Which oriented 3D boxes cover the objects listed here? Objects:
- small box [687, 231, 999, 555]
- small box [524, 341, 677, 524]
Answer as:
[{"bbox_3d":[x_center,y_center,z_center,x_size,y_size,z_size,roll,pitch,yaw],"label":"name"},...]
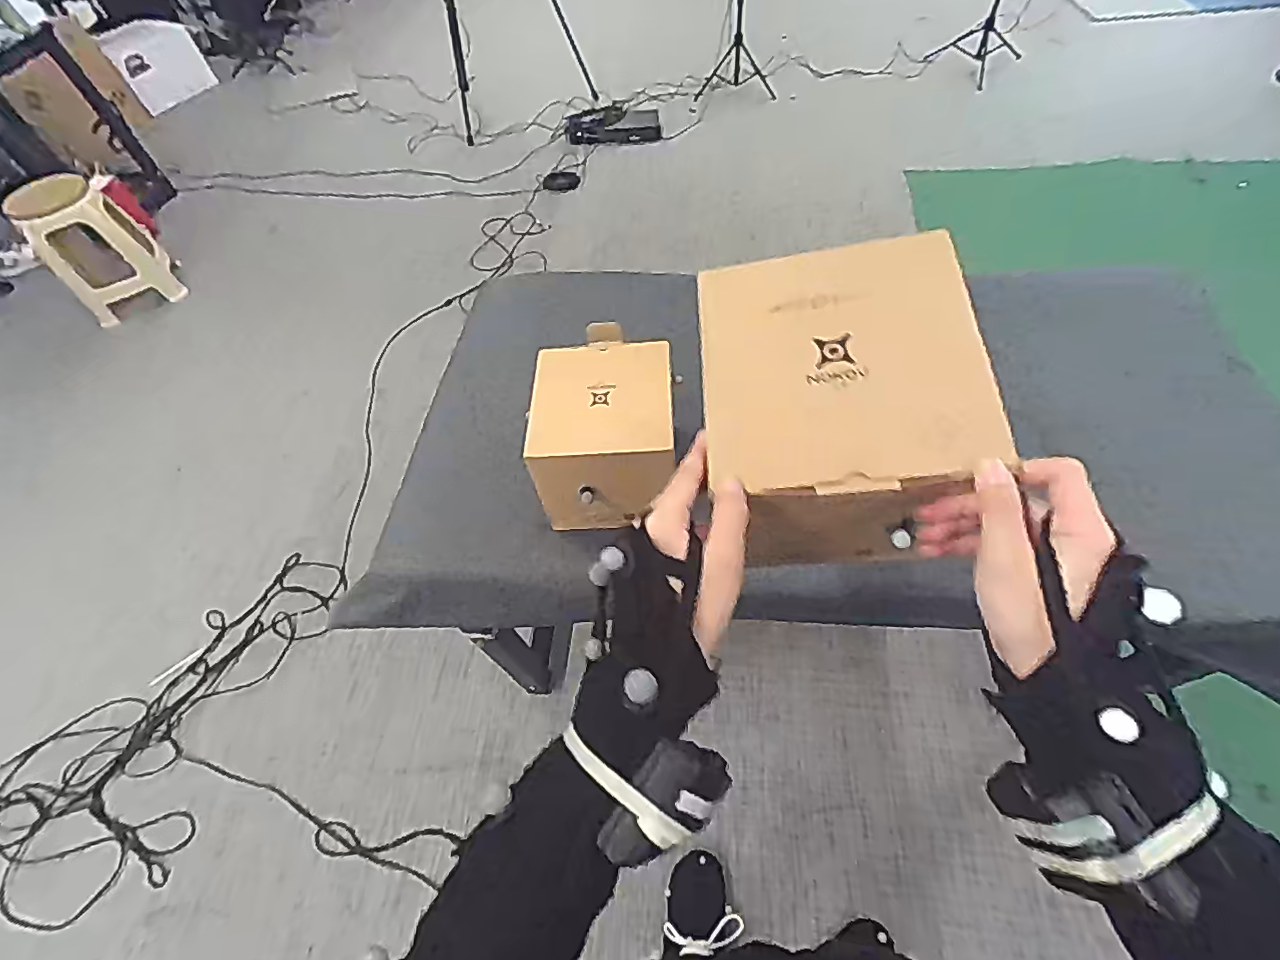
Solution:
[{"bbox_3d":[0.130,-0.046,0.408,0.168,0.176,0.179,-5,65,11],"label":"small box"},{"bbox_3d":[-0.039,-0.052,0.693,0.168,0.176,0.179,-2,54,3],"label":"small box"}]
